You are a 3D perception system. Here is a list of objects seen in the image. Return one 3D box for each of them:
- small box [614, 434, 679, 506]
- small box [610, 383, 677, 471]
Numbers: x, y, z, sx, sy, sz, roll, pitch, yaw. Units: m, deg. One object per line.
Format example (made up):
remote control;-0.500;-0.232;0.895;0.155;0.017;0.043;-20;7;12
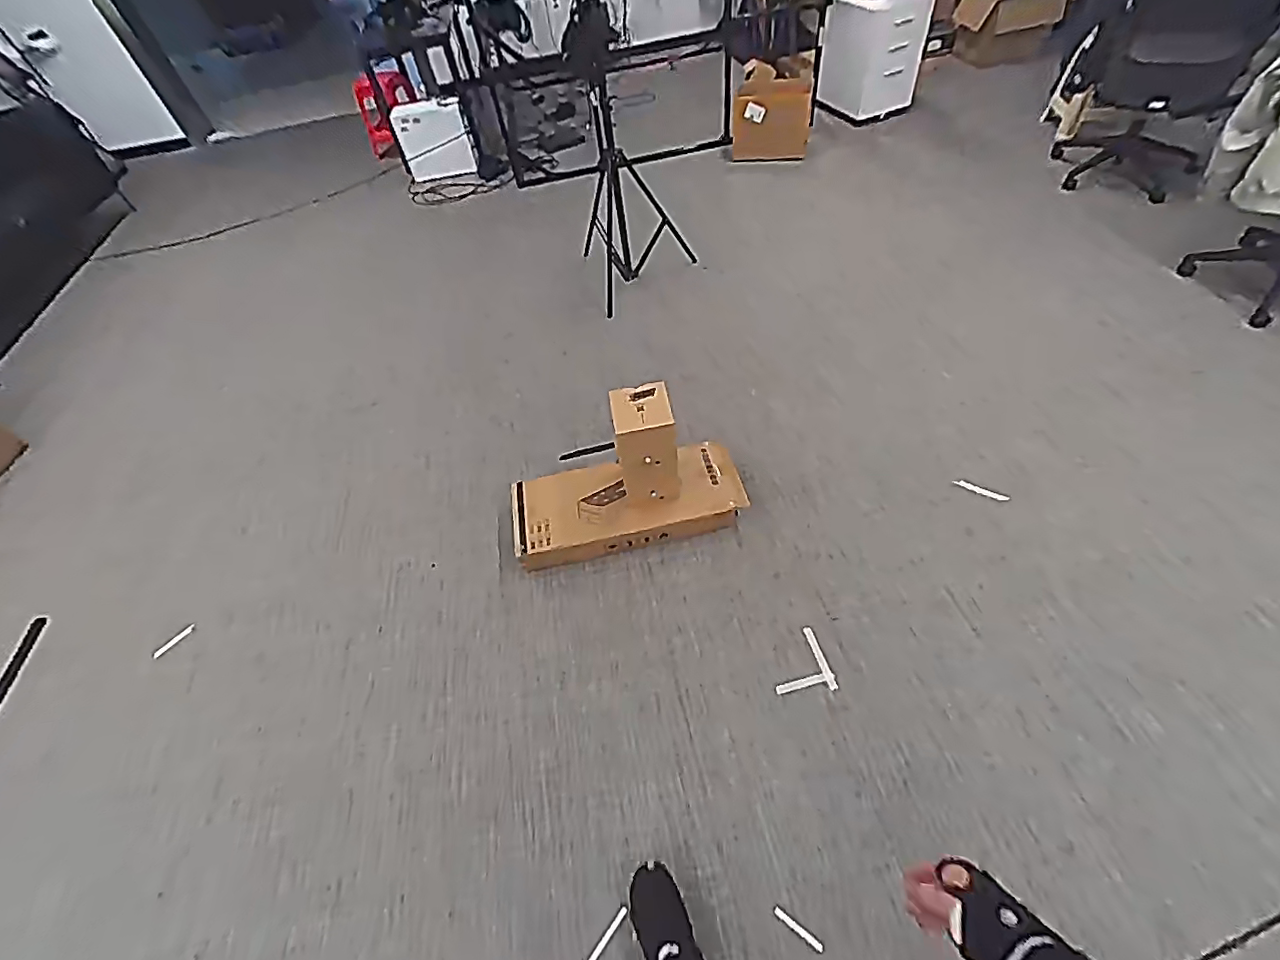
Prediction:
small box;0.022;-0.047;1.699;0.168;0.176;0.179;-14;51;-2
small box;0.012;-0.153;1.574;0.168;0.176;0.179;-11;51;0
